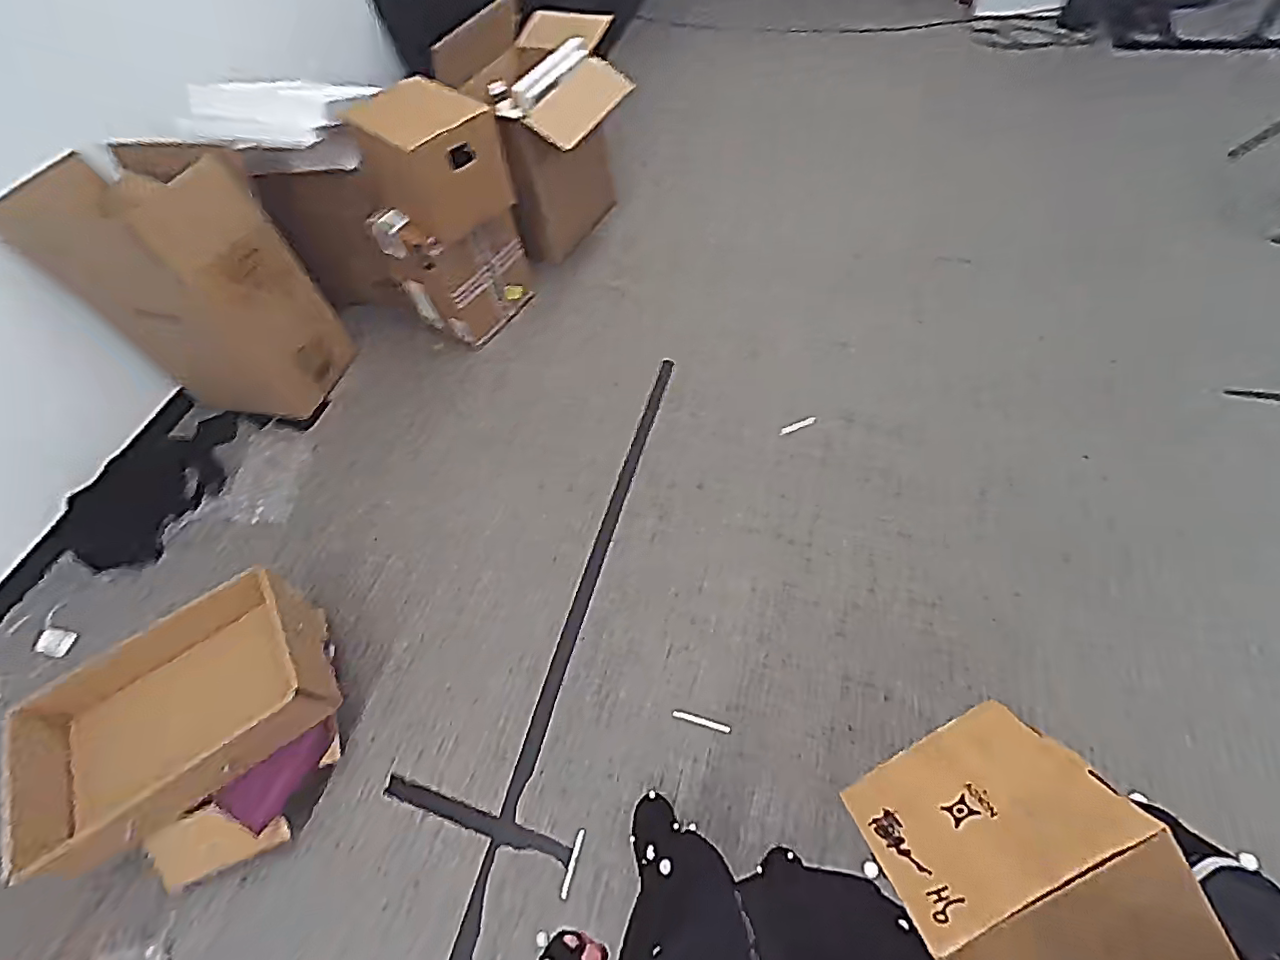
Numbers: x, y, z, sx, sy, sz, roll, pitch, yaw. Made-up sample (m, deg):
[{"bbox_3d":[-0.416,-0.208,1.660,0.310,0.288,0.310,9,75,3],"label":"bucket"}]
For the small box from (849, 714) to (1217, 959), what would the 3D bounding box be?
[{"bbox_3d":[0.318,0.345,0.452,0.179,0.168,0.176,-31,95,2],"label":"small box"}]
